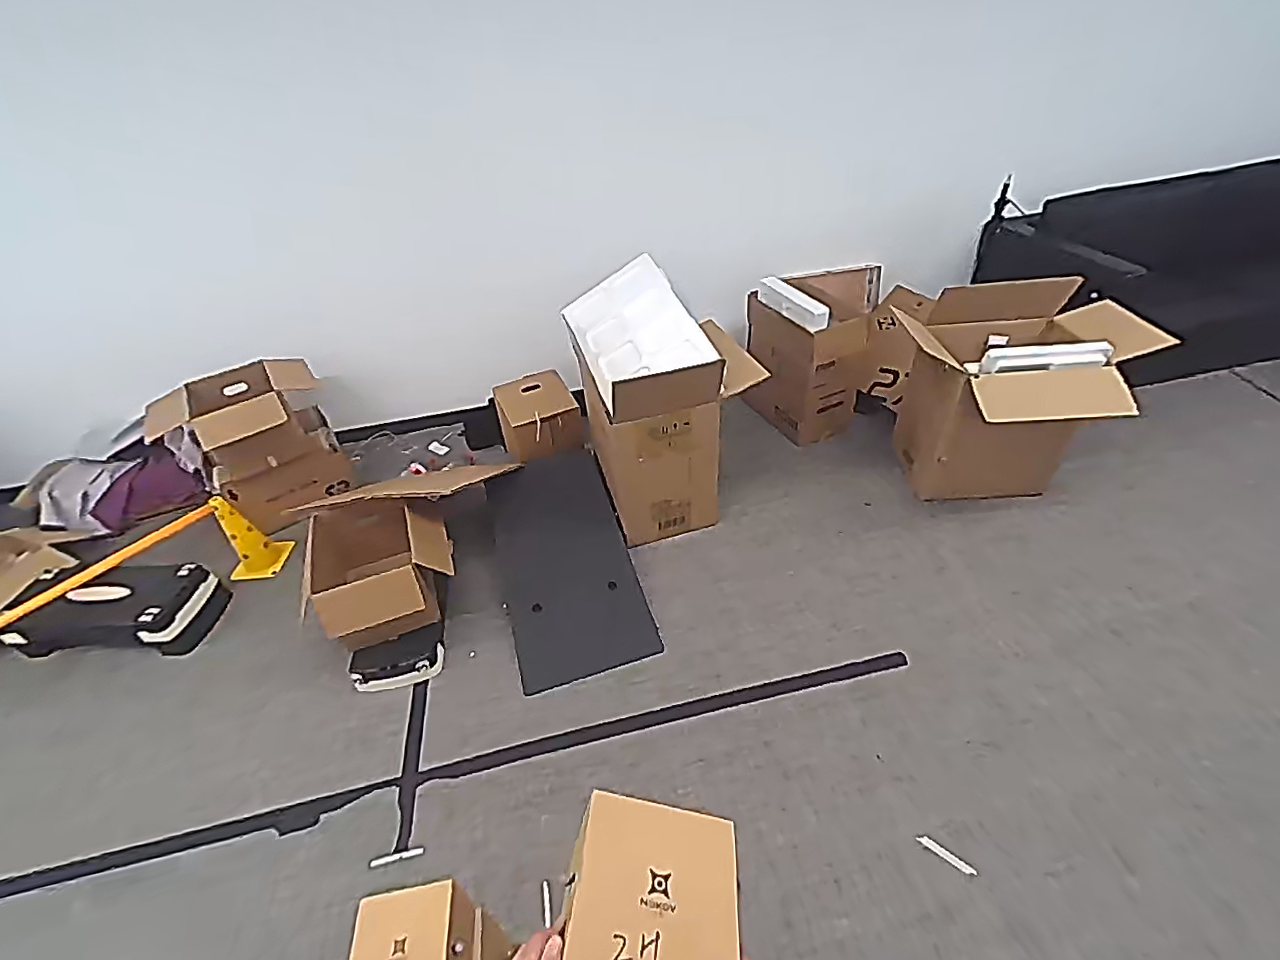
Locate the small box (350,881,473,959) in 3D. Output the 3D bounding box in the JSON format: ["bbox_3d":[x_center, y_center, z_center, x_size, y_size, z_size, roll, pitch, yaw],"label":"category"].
[{"bbox_3d":[-0.401,0.855,0.959,0.168,0.176,0.179,-8,41,-5],"label":"small box"}]

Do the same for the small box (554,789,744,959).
[{"bbox_3d":[0.004,0.472,0.569,0.168,0.176,0.179,14,31,0],"label":"small box"}]

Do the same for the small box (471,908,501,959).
[{"bbox_3d":[-0.380,0.981,1.060,0.179,0.176,0.168,-9,40,-7],"label":"small box"}]
